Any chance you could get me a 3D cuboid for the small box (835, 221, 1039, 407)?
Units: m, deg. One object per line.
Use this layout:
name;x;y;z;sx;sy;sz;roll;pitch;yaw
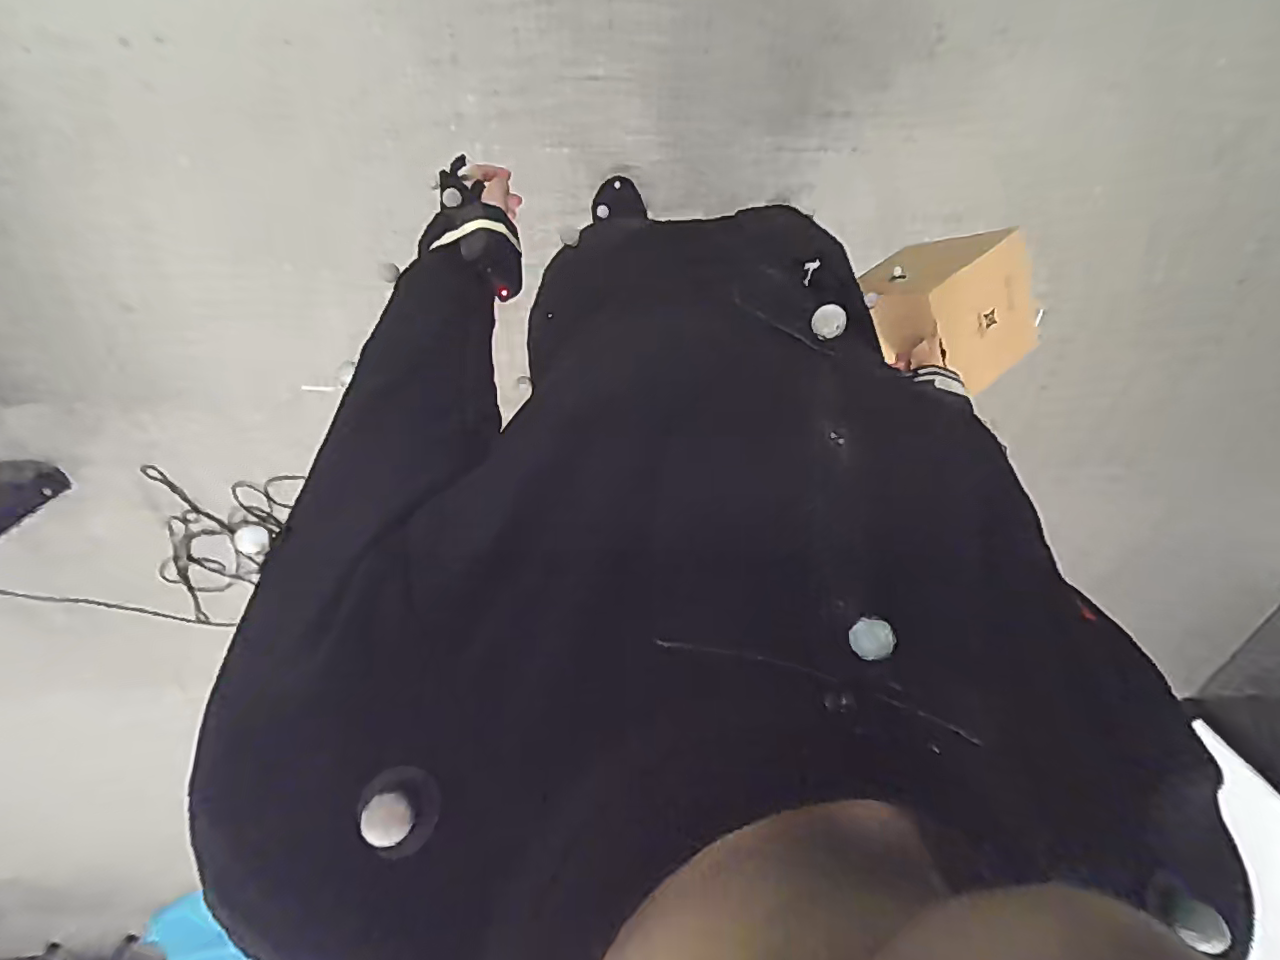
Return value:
small box;0.388;-0.216;0.727;0.179;0.176;0.168;-36;116;-16
